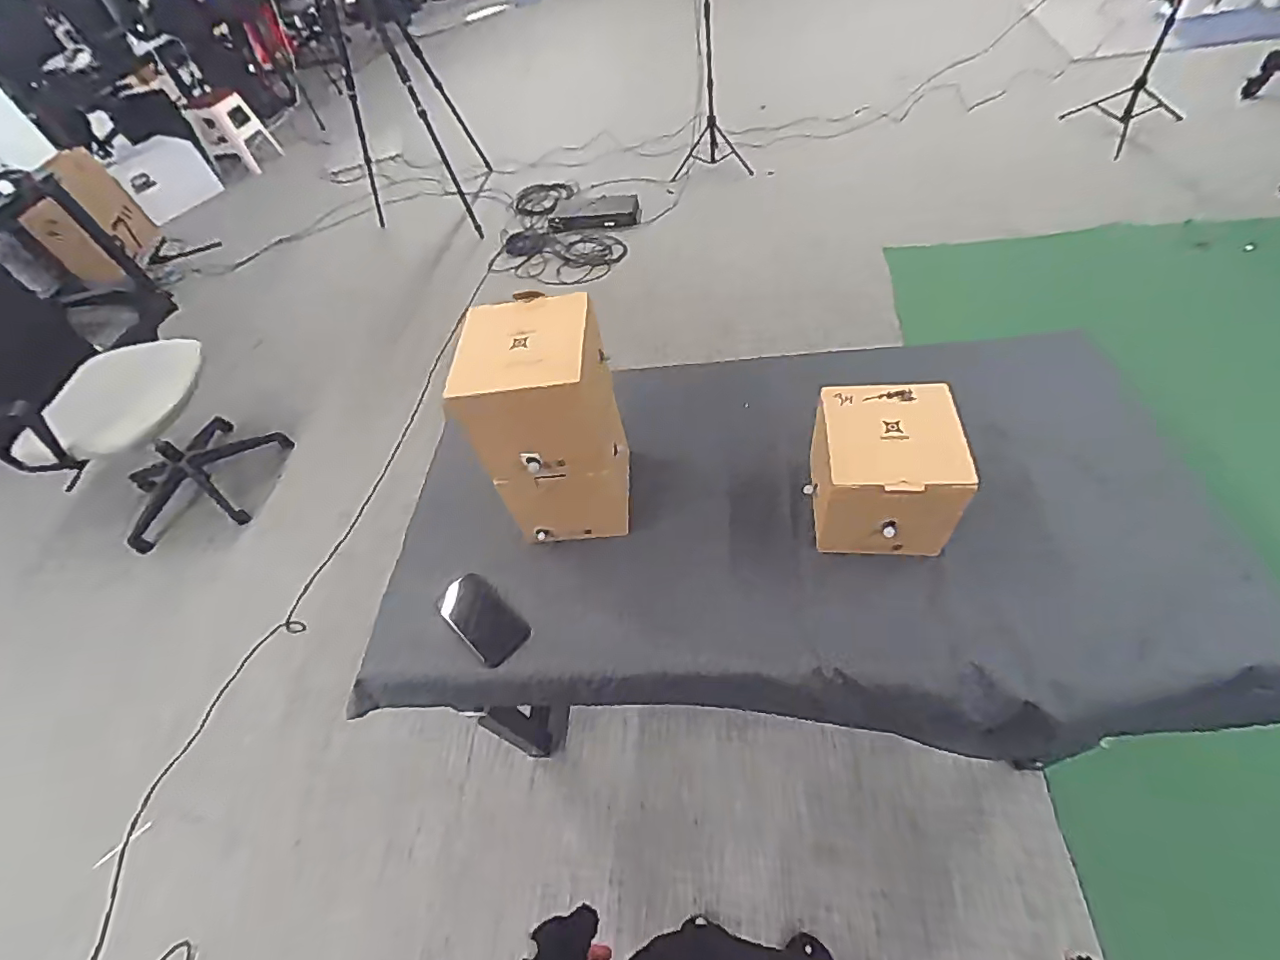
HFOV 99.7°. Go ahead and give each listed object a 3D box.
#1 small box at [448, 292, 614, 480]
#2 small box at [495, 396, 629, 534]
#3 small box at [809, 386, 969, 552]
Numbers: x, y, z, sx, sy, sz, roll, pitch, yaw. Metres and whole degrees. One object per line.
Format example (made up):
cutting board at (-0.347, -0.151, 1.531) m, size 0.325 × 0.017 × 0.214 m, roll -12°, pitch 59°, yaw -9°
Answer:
small box at (-0.131, -0.122, 0.729) m, size 0.168 × 0.176 × 0.179 m, roll -6°, pitch 54°, yaw 7°
small box at (-0.111, -0.025, 0.857) m, size 0.168 × 0.176 × 0.179 m, roll -5°, pitch 52°, yaw 6°
small box at (0.335, -0.011, 0.767) m, size 0.168 × 0.176 × 0.179 m, roll 0°, pitch 54°, yaw 11°
